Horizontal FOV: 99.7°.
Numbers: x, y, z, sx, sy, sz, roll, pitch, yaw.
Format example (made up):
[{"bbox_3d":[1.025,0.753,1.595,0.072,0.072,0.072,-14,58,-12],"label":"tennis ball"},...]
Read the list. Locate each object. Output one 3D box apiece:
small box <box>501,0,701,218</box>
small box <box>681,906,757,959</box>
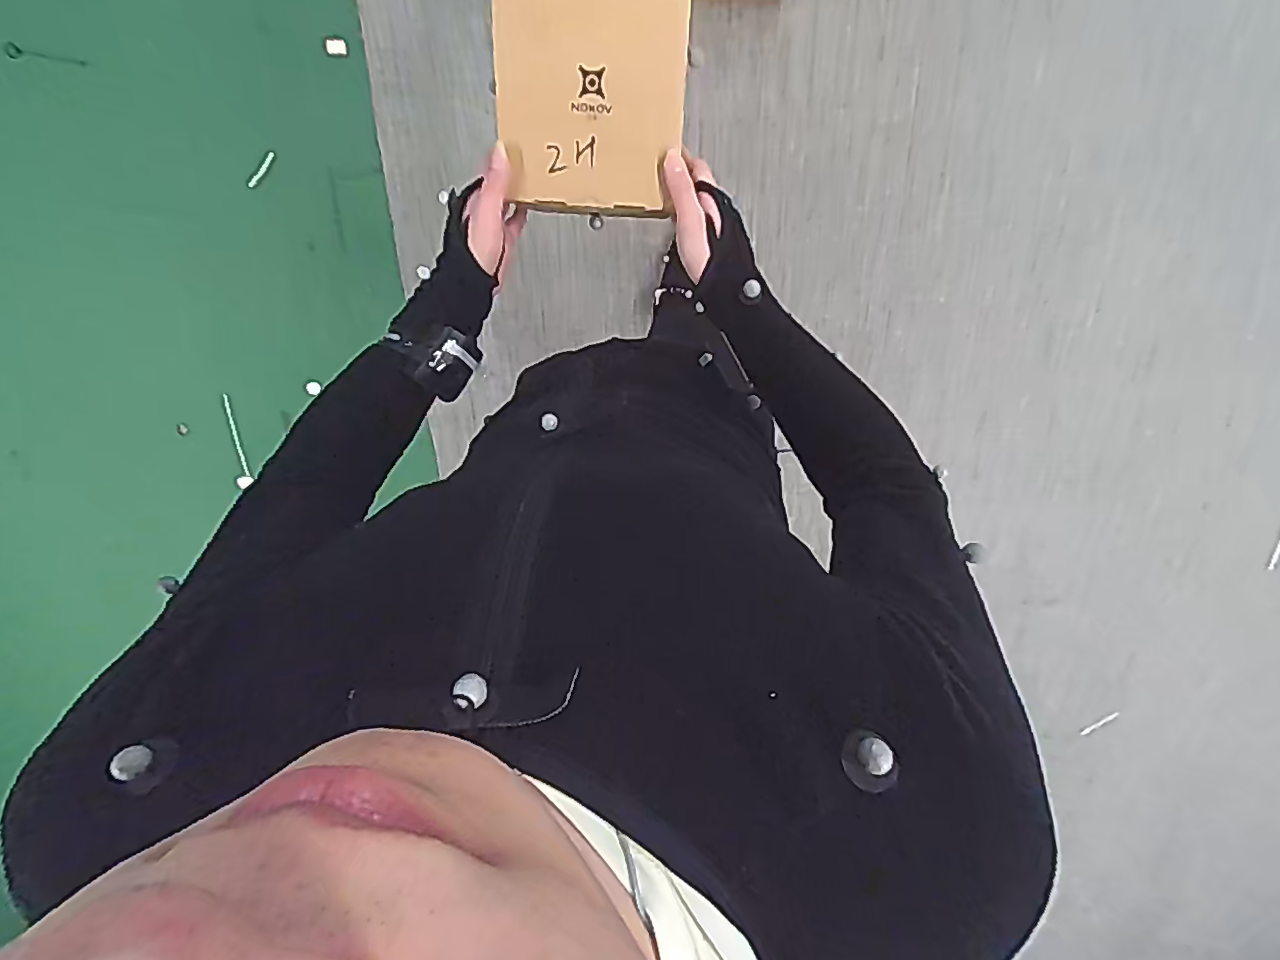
[{"bbox_3d":[-0.038,-0.366,0.535,0.168,0.176,0.179,3,113,-2],"label":"small box"},{"bbox_3d":[0.176,1.095,1.210,0.168,0.176,0.179,-2,111,5],"label":"small box"}]
